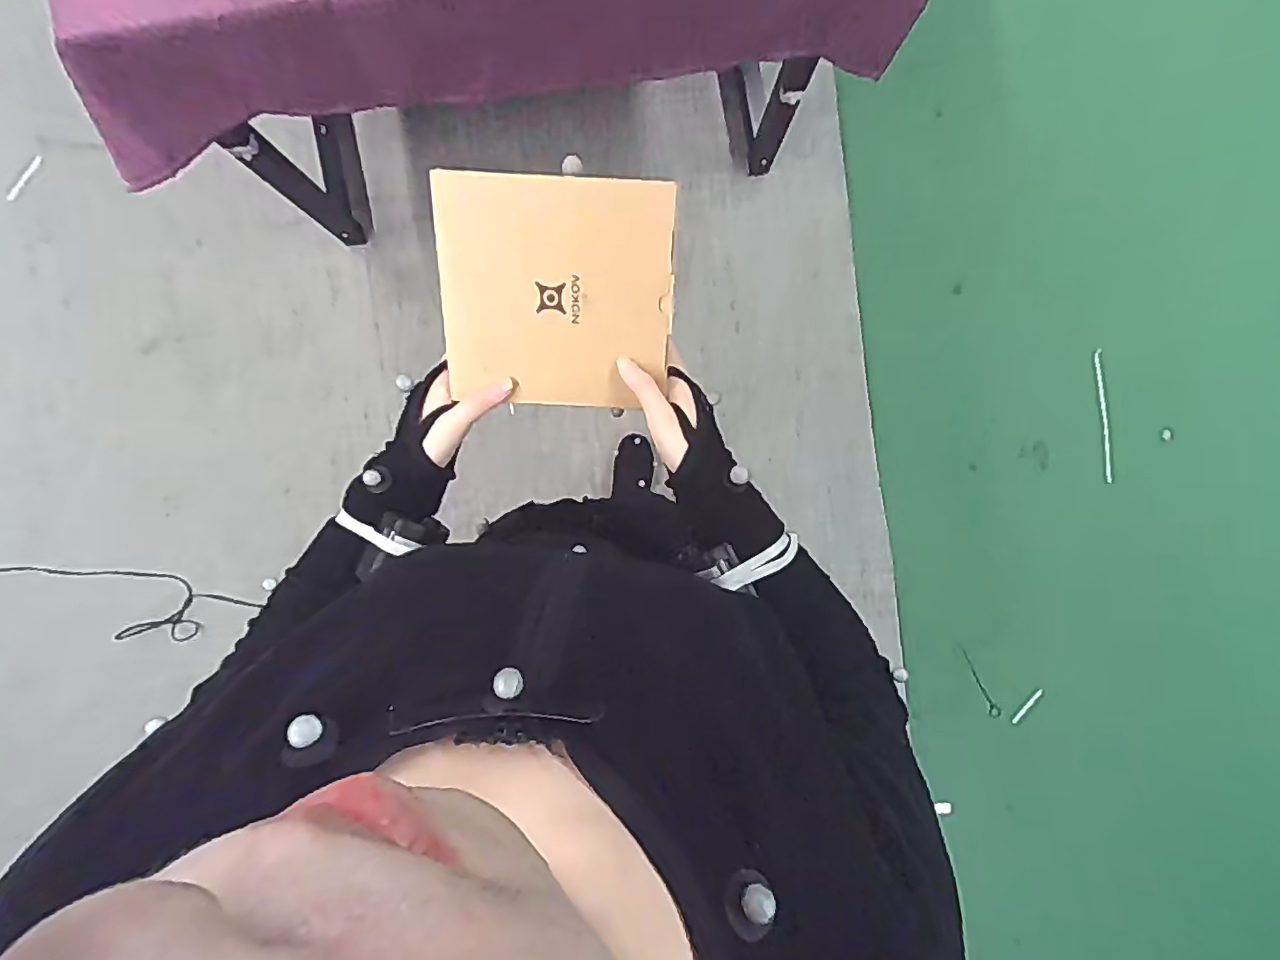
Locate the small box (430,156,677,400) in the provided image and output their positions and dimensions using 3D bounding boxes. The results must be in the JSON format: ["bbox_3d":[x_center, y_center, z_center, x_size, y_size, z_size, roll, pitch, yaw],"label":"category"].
[{"bbox_3d":[-0.065,-0.173,0.480,0.179,0.176,0.168,2,112,-2],"label":"small box"}]
